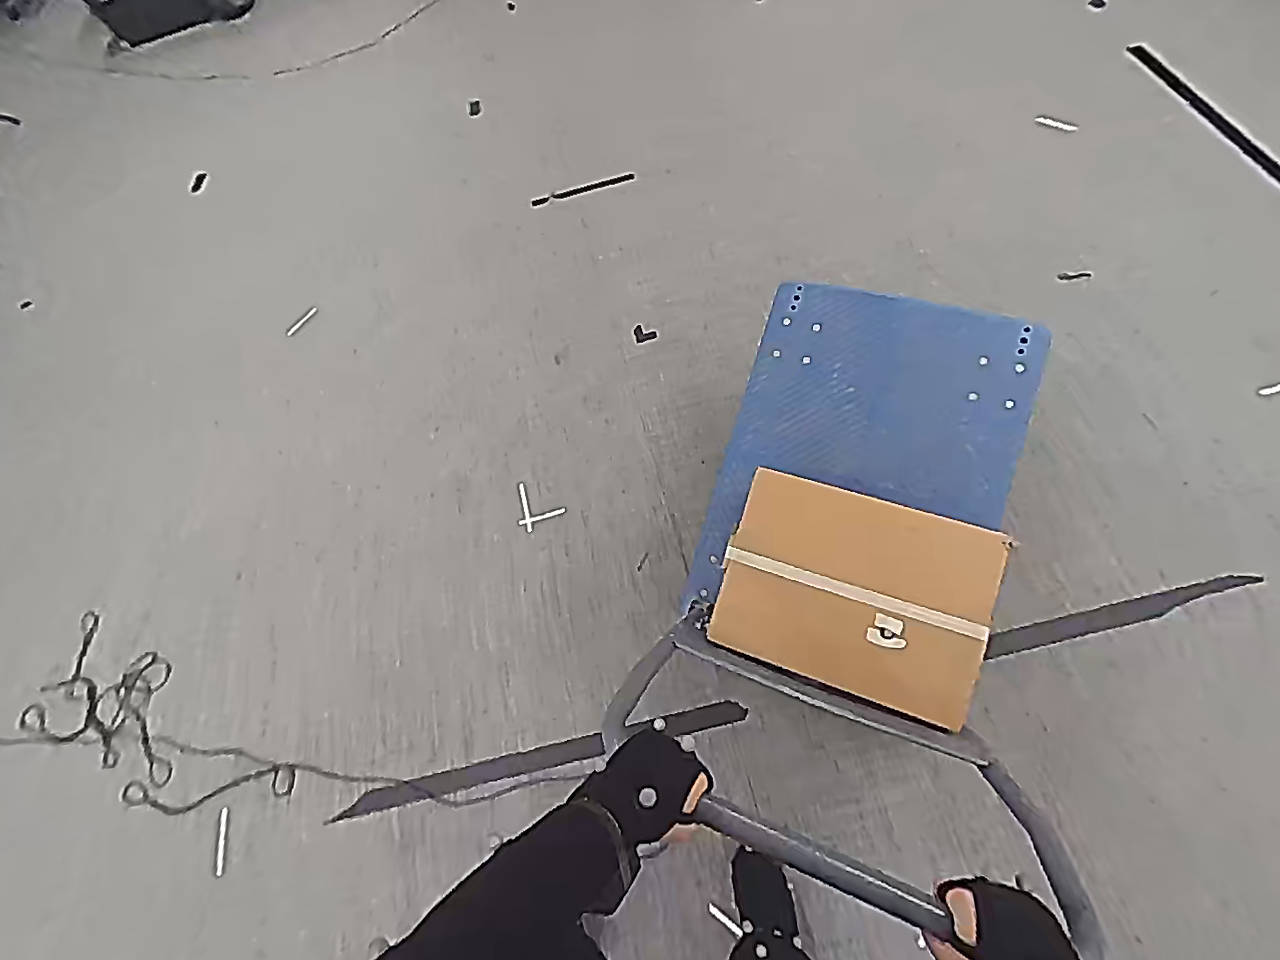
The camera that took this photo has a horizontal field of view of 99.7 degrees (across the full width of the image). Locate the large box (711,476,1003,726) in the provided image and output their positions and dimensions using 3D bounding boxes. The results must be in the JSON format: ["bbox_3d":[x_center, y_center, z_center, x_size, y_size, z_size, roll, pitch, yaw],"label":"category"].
[{"bbox_3d":[0.380,0.206,1.037,0.408,0.320,0.320,16,87,15],"label":"large box"}]
